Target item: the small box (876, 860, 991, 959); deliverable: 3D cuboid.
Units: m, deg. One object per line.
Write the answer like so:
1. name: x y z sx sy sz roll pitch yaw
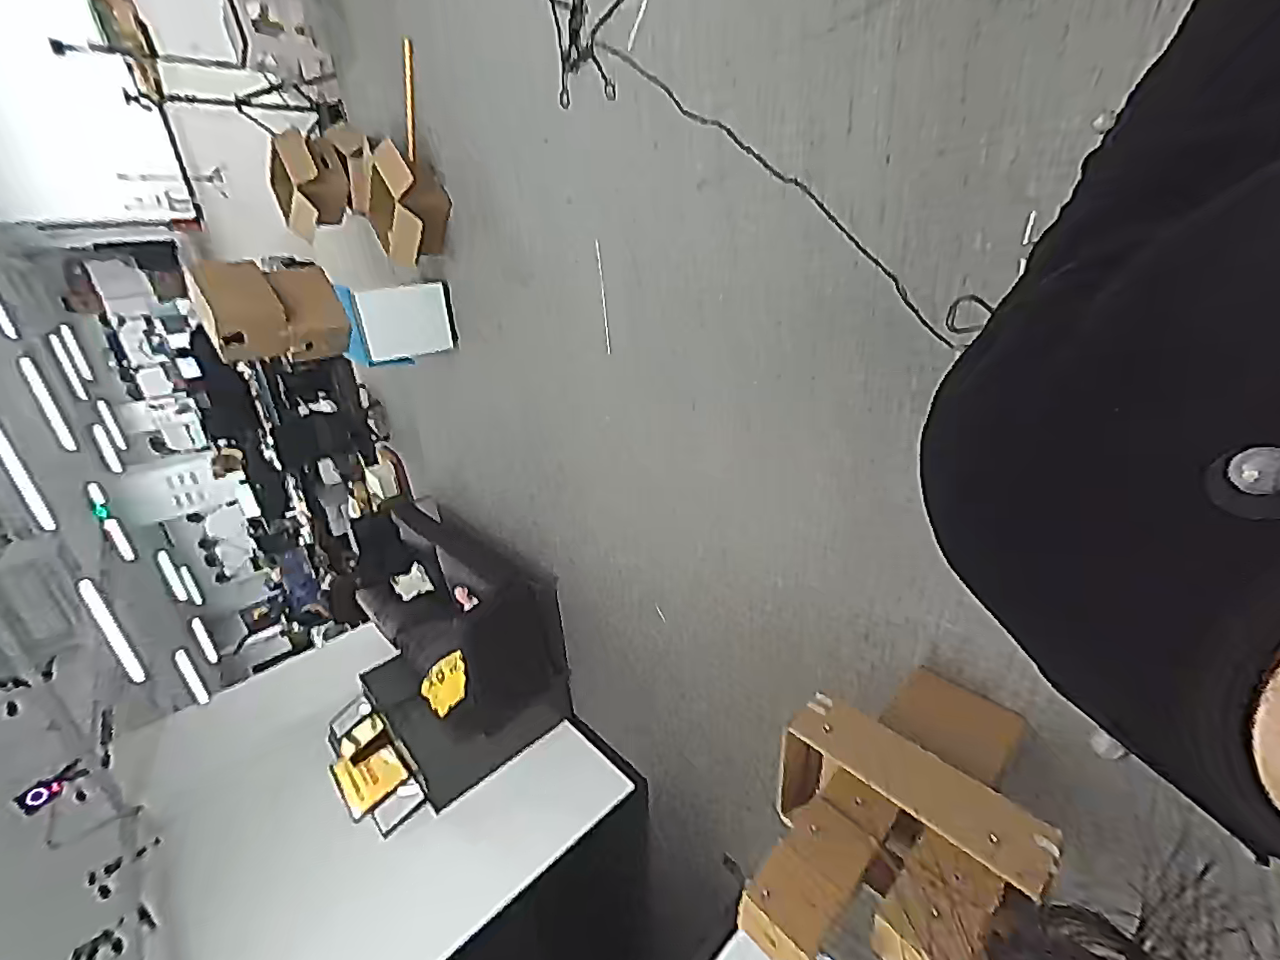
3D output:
1. small box: 0.657 1.012 1.210 0.168 0.176 0.179 23 126 45

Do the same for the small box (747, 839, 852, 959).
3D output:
1. small box: 0.380 1.018 1.293 0.179 0.176 0.168 27 130 40
